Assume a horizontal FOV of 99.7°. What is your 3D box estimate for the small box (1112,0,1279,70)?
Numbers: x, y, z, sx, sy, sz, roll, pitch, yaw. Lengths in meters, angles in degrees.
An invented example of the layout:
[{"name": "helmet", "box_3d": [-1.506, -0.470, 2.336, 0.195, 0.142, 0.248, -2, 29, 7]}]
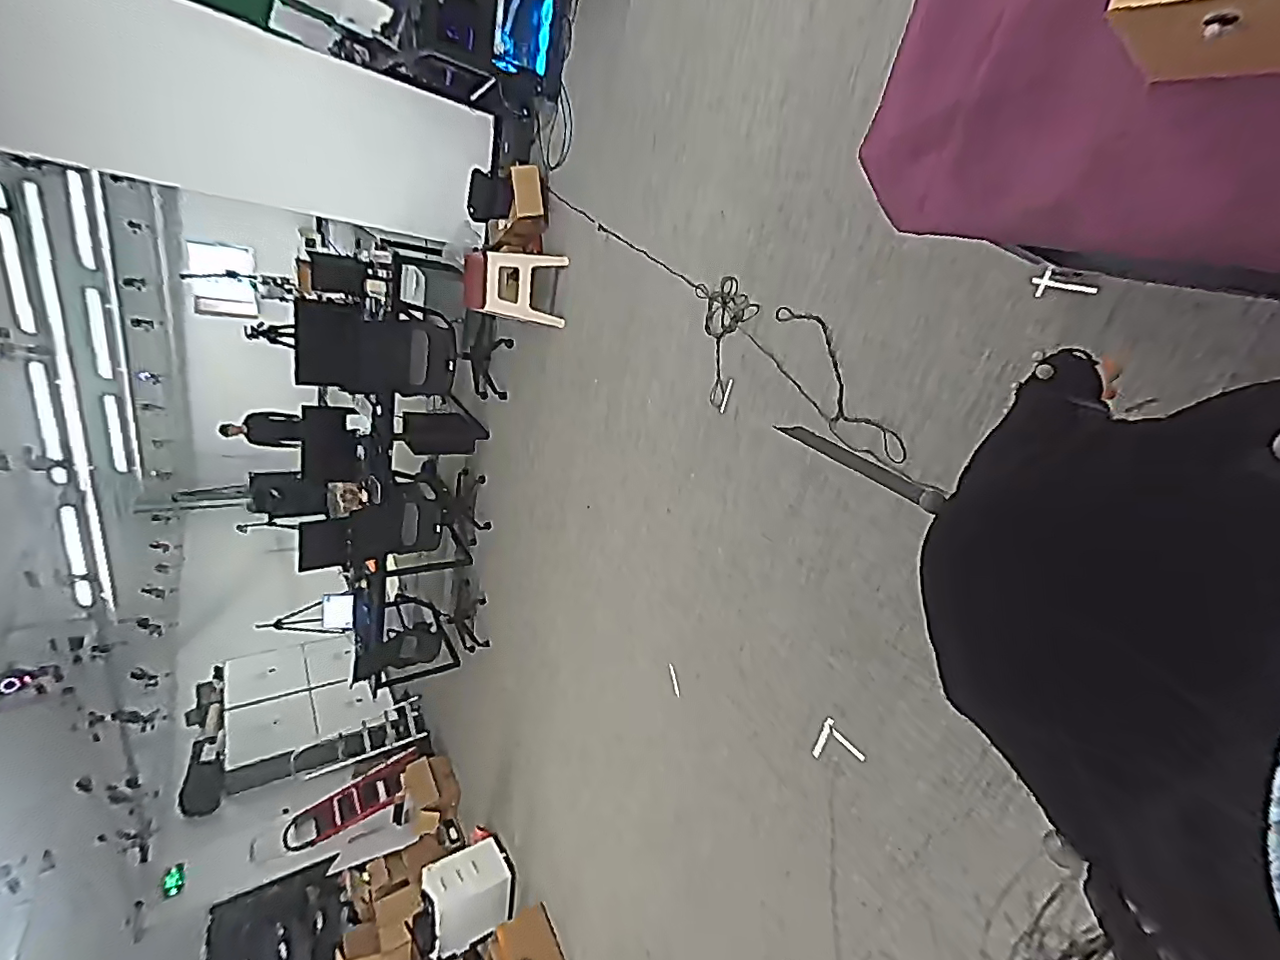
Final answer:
[{"name": "small box", "box_3d": [0.558, -0.470, 0.449, 0.179, 0.176, 0.168, 38, 123, 44]}]
